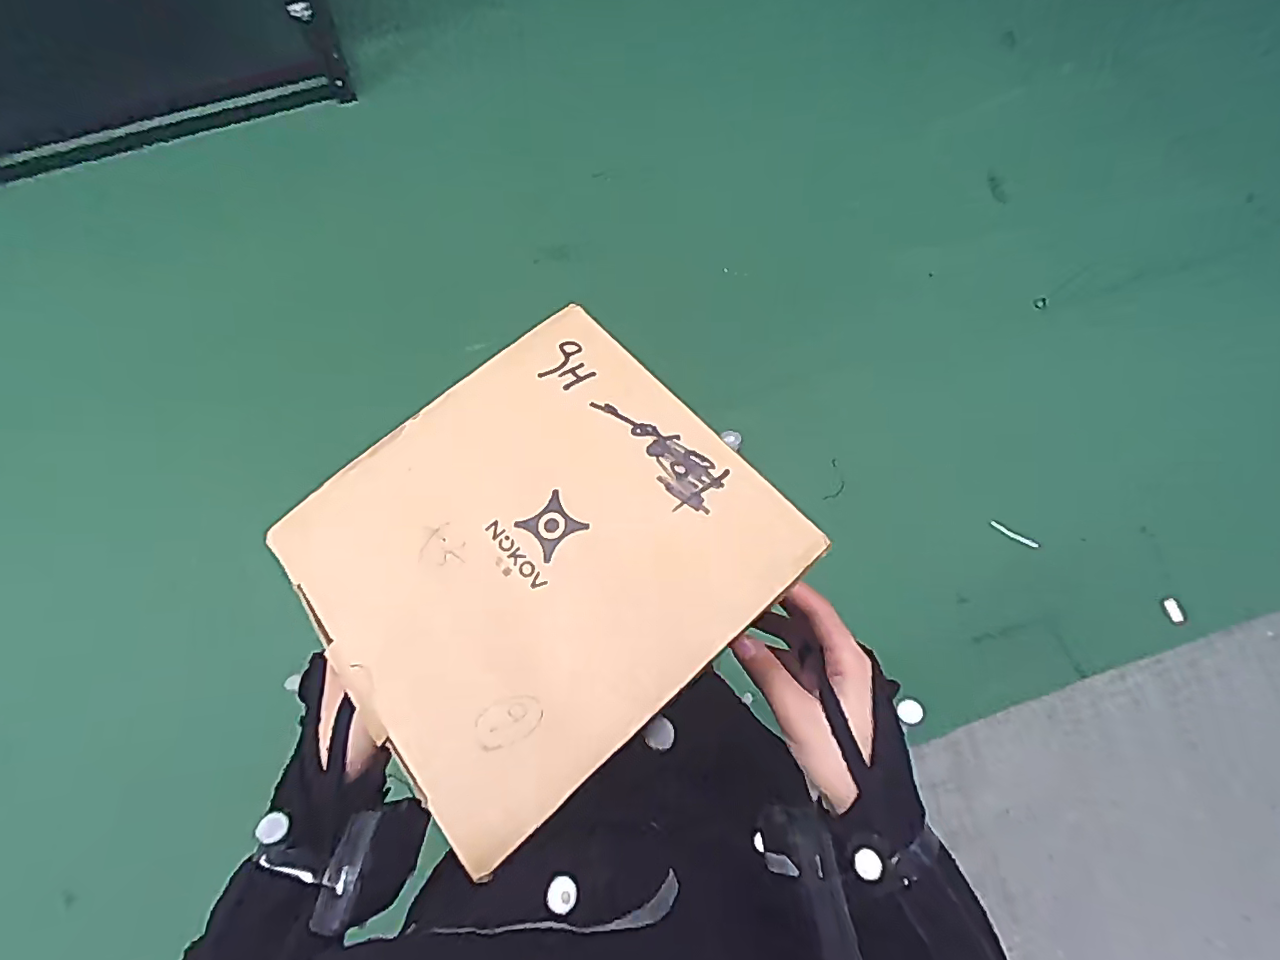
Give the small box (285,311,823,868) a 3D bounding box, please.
[{"bbox_3d":[-0.033,0.055,0.298,0.179,0.176,0.168,-40,70,-10],"label":"small box"}]
